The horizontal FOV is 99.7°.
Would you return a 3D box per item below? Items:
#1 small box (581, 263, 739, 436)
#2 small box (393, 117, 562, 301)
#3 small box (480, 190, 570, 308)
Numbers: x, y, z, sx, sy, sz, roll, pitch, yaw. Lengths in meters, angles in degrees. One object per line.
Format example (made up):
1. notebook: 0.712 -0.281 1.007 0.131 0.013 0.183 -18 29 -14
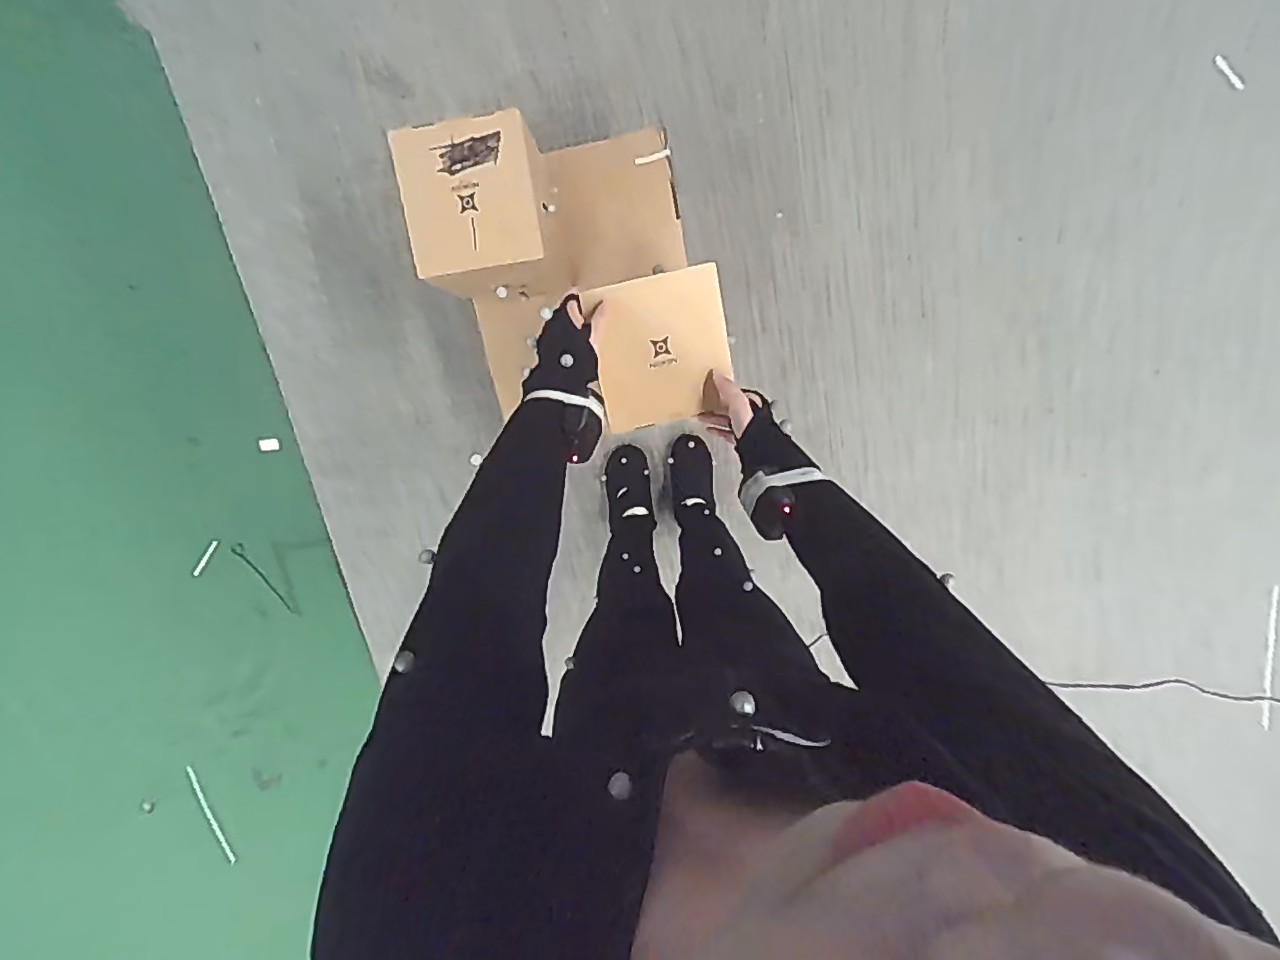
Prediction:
1. small box: 0.020 -0.175 0.725 0.168 0.176 0.179 -14 108 0
2. small box: -0.211 -0.361 0.752 0.168 0.176 0.179 -9 101 2
3. small box: -0.222 -0.403 0.912 0.168 0.176 0.179 -11 100 2
